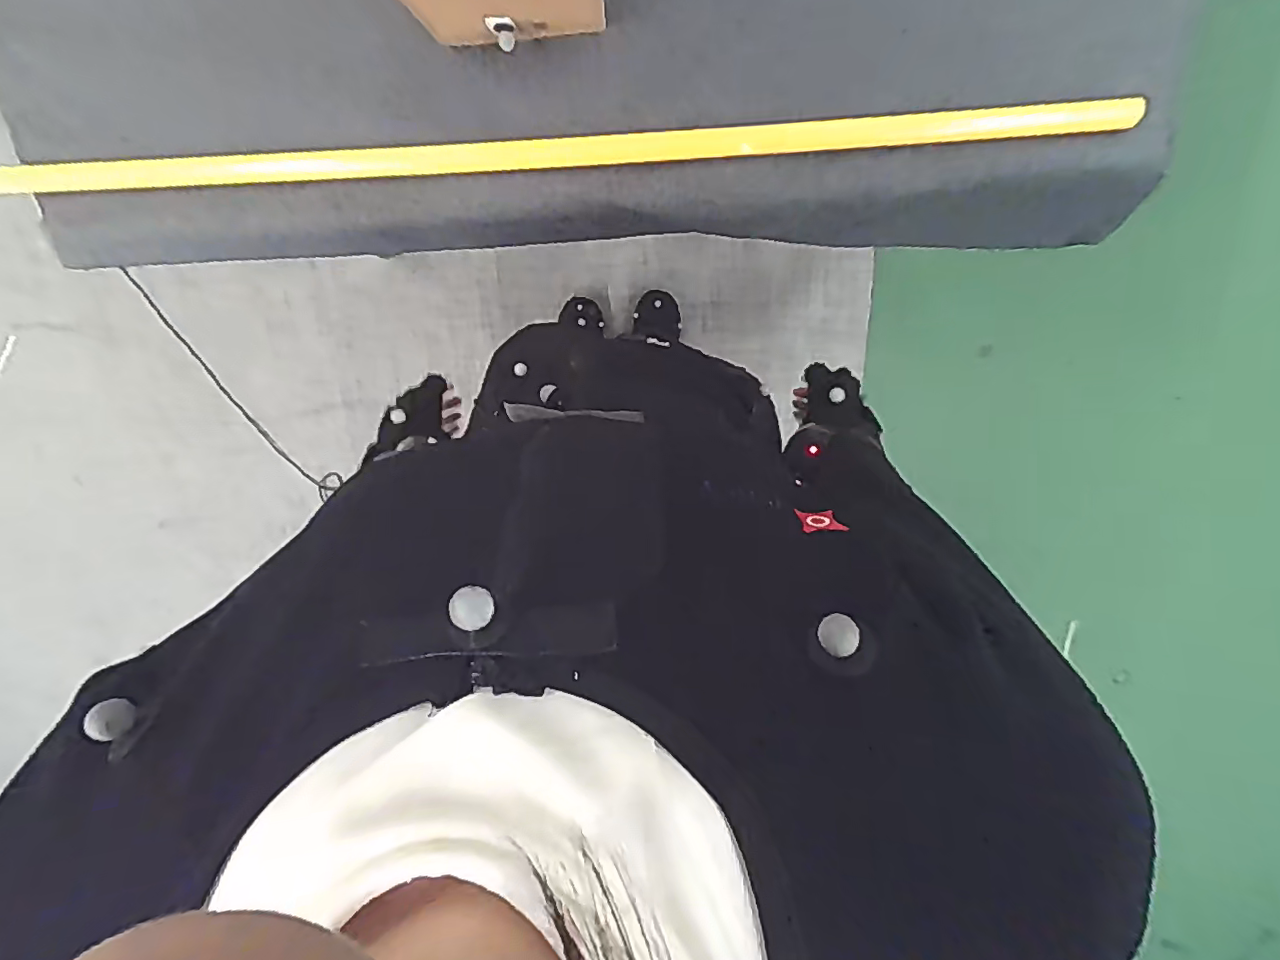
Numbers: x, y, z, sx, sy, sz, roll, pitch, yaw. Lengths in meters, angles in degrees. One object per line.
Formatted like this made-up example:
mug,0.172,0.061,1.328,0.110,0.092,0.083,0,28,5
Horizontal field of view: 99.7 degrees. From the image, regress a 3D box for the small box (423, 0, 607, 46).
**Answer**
small box,-0.124,-0.501,0.441,0.168,0.176,0.179,-4,110,5
